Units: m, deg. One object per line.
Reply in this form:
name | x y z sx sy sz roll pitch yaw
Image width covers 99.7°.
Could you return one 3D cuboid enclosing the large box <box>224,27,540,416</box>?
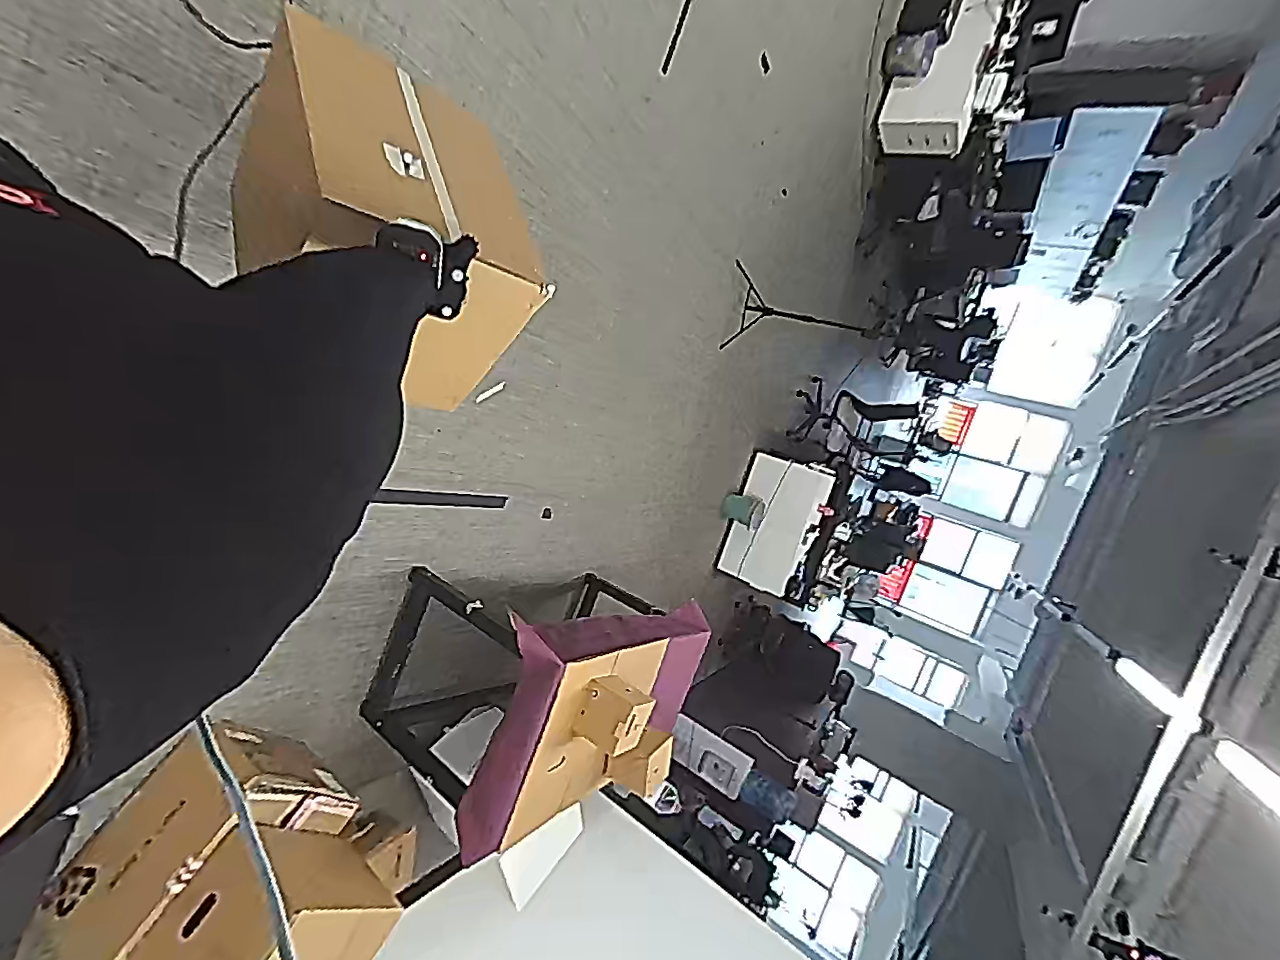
large box | -0.422 -0.368 0.863 0.320 0.408 0.320 -37 154 33
